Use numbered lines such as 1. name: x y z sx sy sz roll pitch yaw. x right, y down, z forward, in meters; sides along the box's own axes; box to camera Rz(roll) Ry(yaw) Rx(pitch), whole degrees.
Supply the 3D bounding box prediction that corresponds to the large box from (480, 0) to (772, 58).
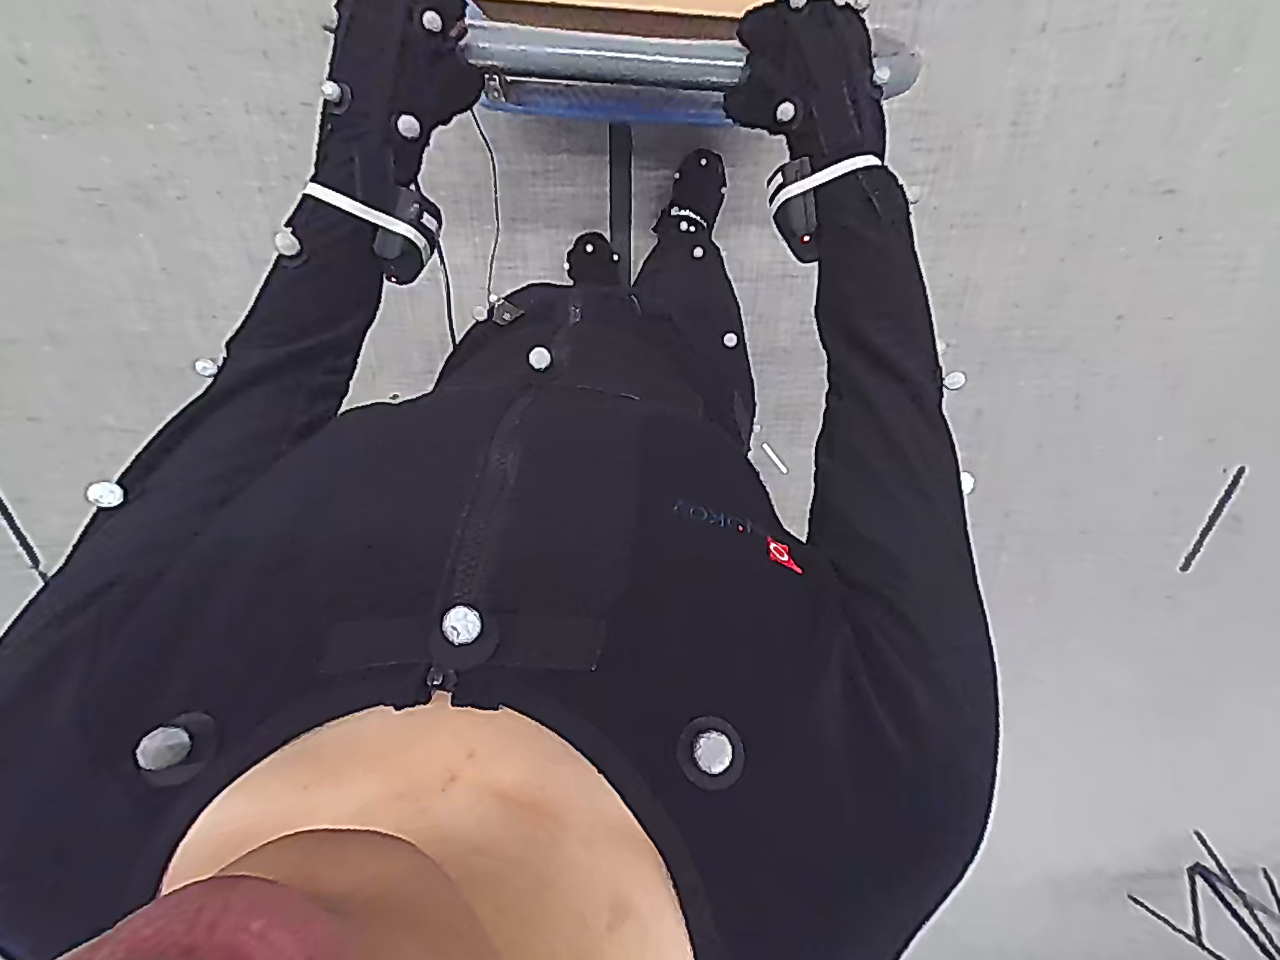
1. large box: -0.023 -0.833 0.774 0.408 0.320 0.320 1 120 -4
